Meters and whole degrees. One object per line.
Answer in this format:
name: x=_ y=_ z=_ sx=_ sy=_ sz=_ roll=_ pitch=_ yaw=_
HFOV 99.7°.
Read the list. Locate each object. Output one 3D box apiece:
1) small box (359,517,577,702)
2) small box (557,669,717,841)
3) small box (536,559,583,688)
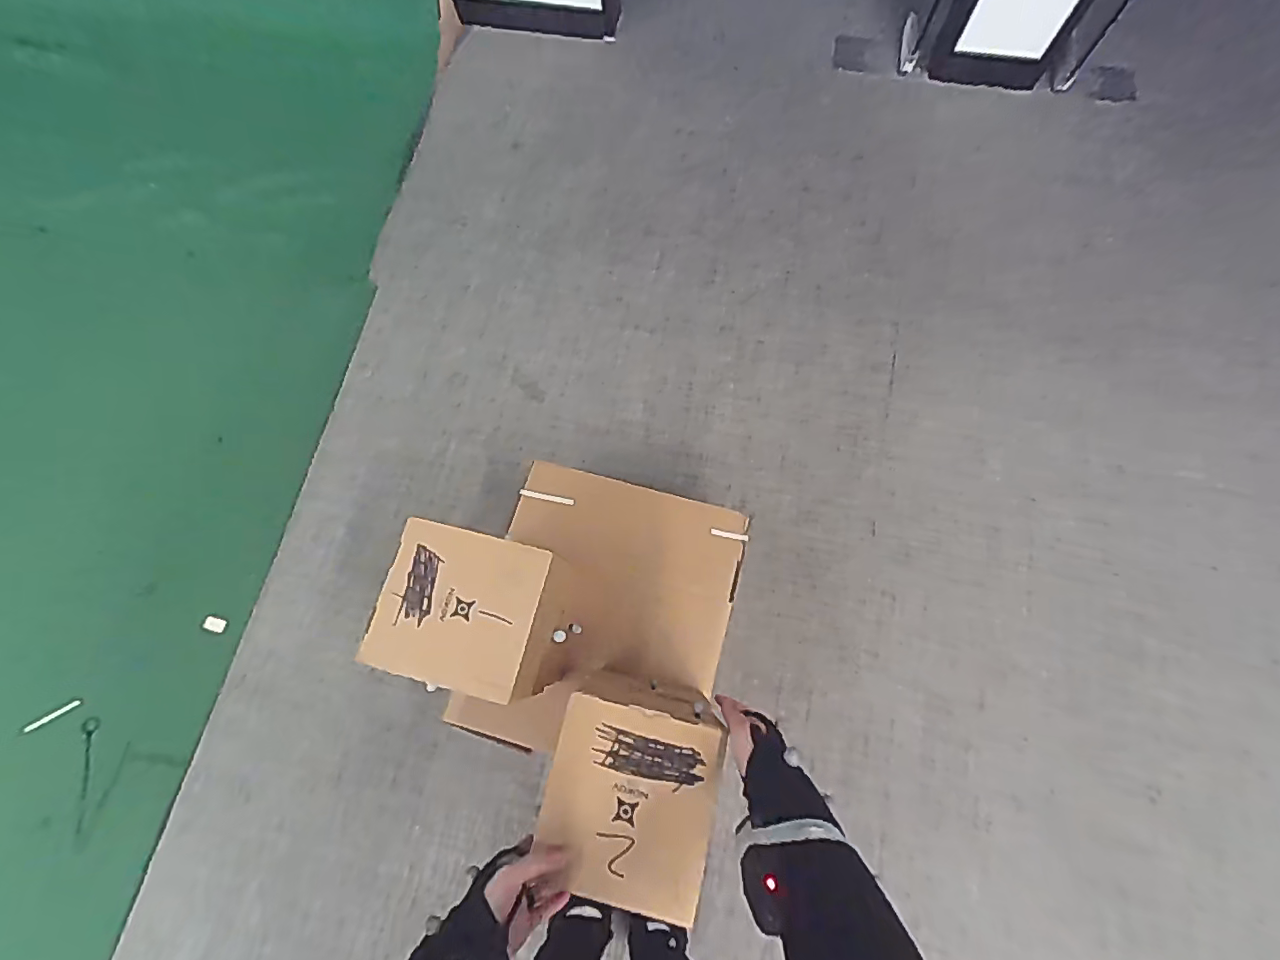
small box: x=-0.190 y=0.158 z=0.657 sx=0.179 sy=0.176 sz=0.168 roll=12 pitch=75 yaw=7
small box: x=0.000 y=0.370 z=0.763 sx=0.179 sy=0.176 sz=0.168 roll=12 pitch=74 yaw=5
small box: x=-0.190 y=0.200 z=0.818 sx=0.168 sy=0.176 sz=0.179 roll=13 pitch=74 yaw=6
